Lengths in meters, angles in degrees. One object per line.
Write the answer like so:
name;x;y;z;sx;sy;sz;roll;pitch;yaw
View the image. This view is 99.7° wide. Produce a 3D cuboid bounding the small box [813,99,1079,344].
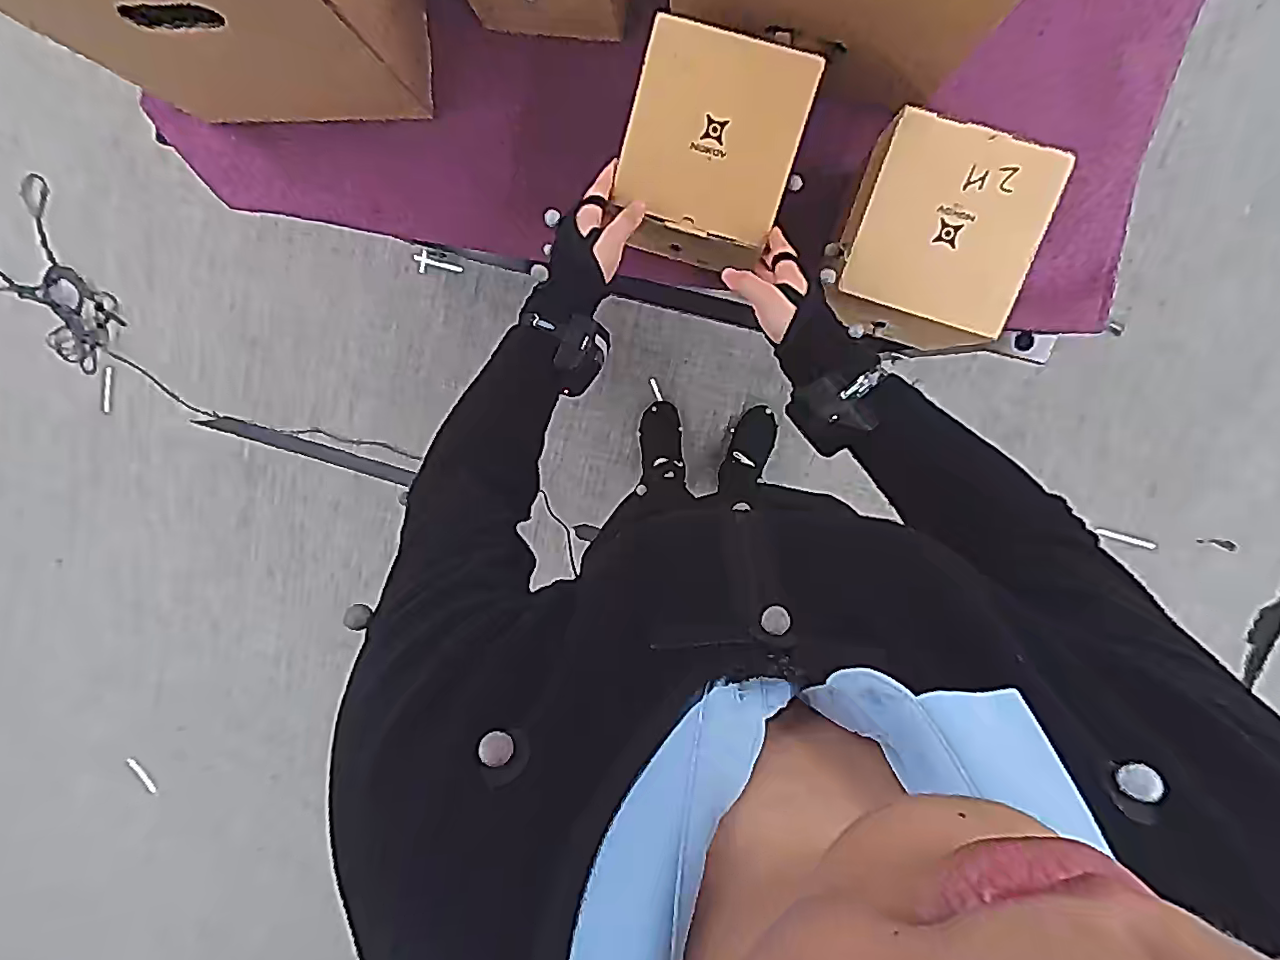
small box;0.304;-0.258;0.587;0.168;0.176;0.179;18;100;2
